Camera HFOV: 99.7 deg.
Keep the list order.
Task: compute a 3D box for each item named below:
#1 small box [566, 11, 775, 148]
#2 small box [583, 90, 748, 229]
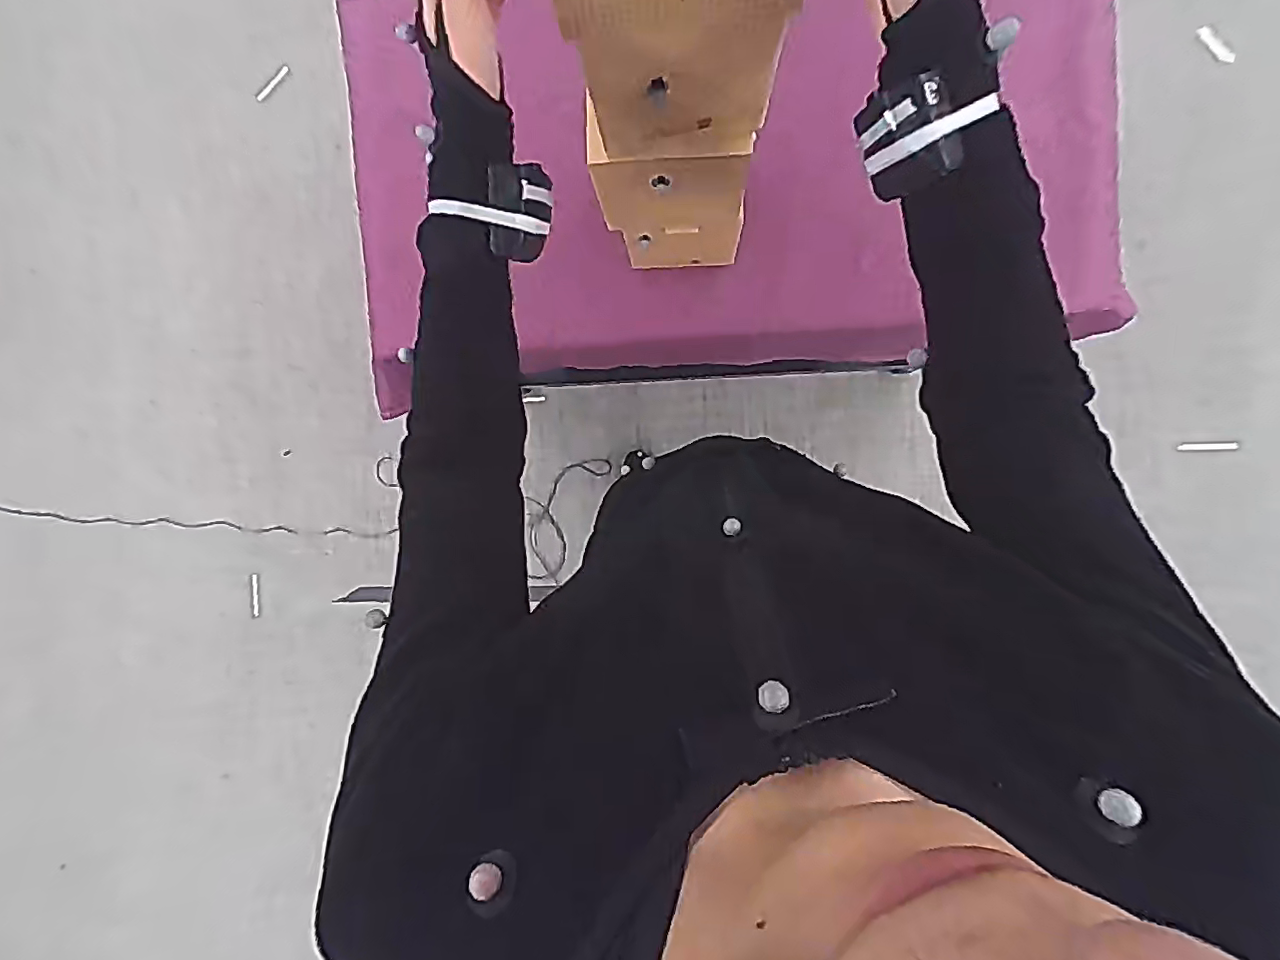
[{"bbox_3d":[0.023,-0.428,0.481,0.168,0.176,0.179,-8,90,5],"label":"small box"},{"bbox_3d":[0.033,-0.415,0.643,0.179,0.176,0.168,0,92,4],"label":"small box"}]
